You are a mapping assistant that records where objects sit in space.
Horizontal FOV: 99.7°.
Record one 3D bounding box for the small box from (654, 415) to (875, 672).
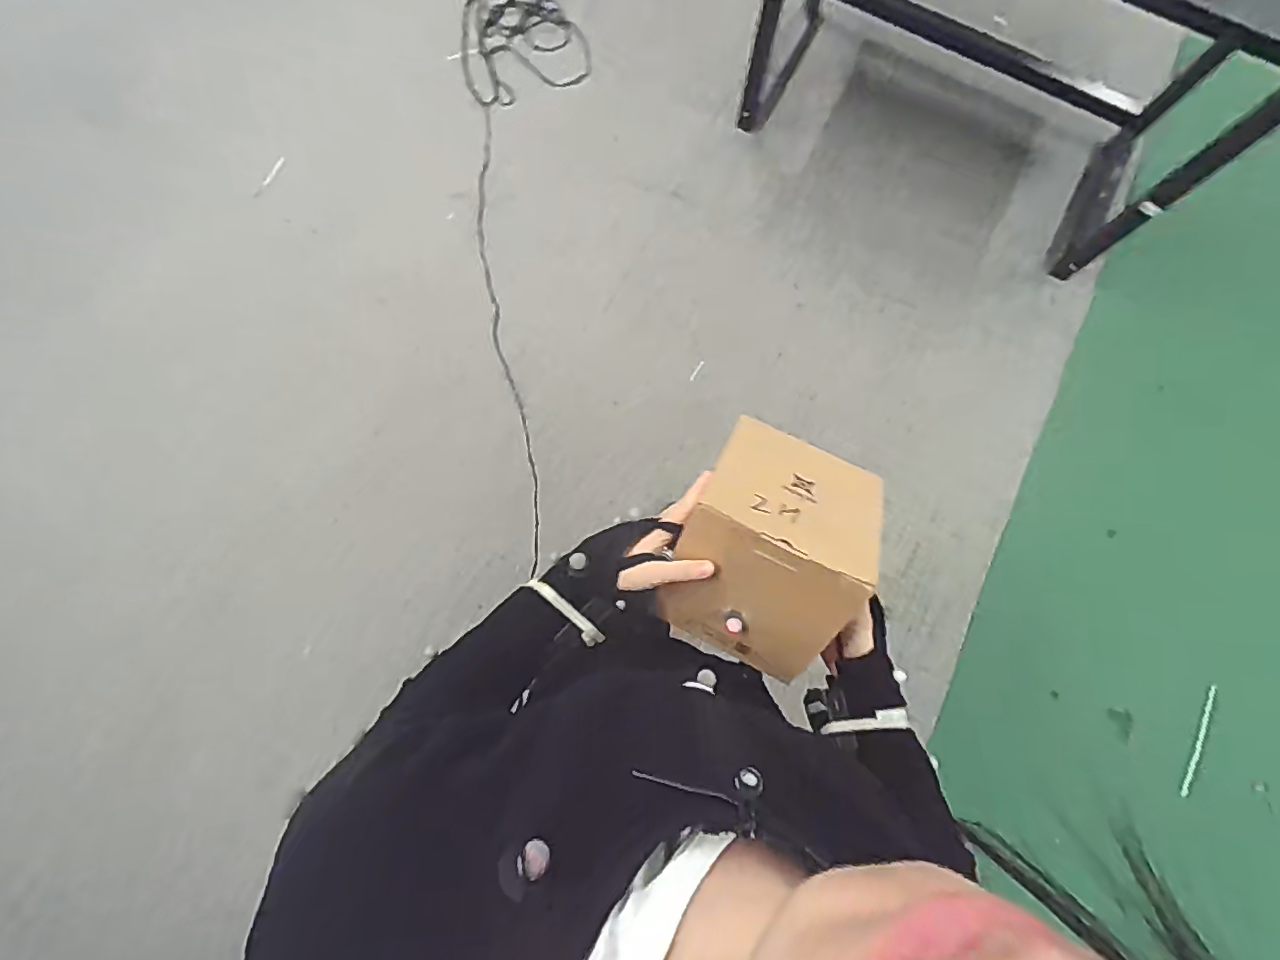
[{"bbox_3d":[0.130,0.065,0.580,0.168,0.176,0.179,25,41,7],"label":"small box"}]
